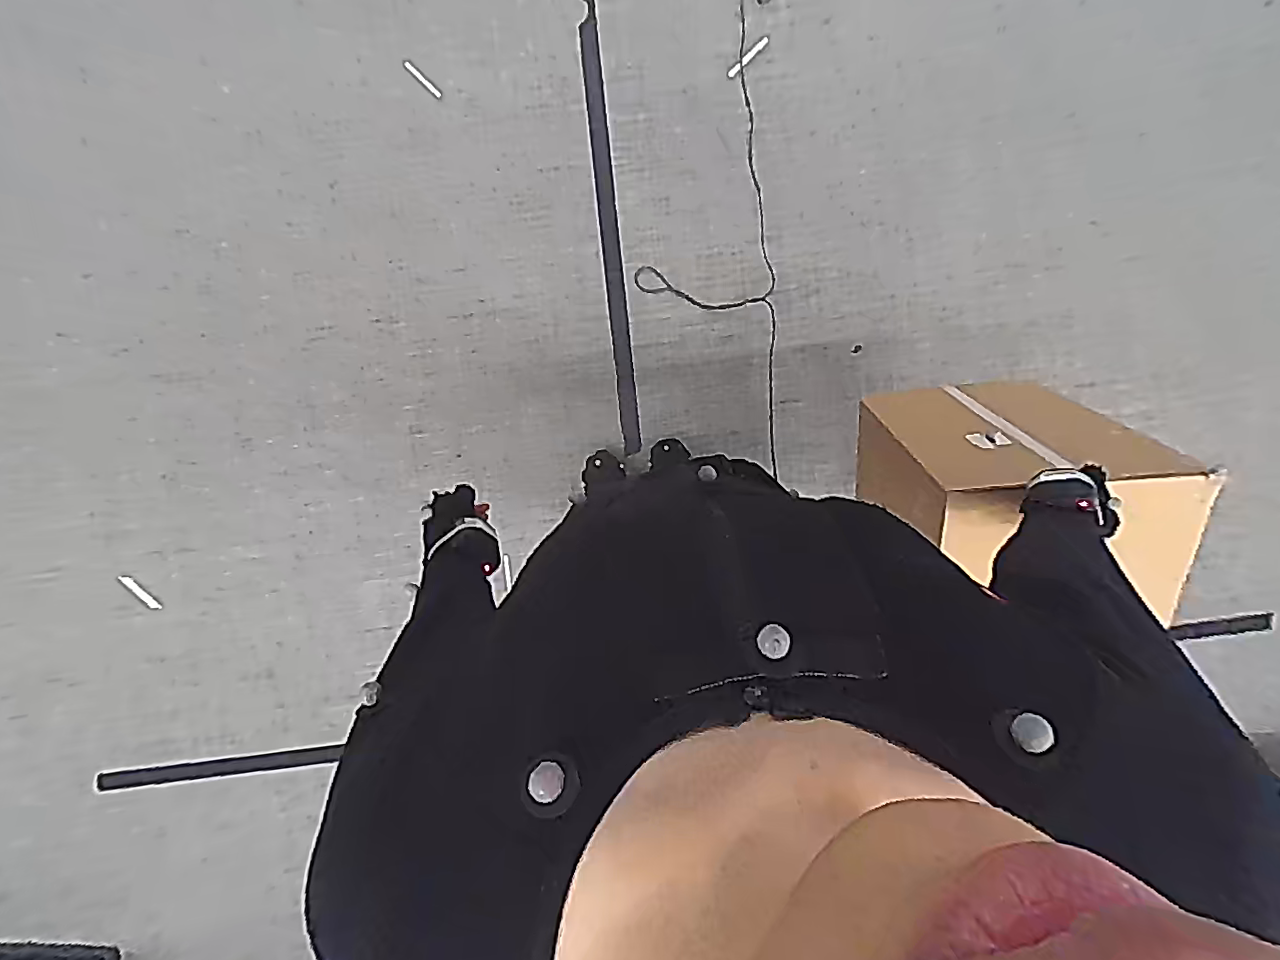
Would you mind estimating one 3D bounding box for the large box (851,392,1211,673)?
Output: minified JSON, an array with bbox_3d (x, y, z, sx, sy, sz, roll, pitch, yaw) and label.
[{"bbox_3d":[0.580,0.066,0.921,0.320,0.408,0.320,-4,117,7],"label":"large box"}]
